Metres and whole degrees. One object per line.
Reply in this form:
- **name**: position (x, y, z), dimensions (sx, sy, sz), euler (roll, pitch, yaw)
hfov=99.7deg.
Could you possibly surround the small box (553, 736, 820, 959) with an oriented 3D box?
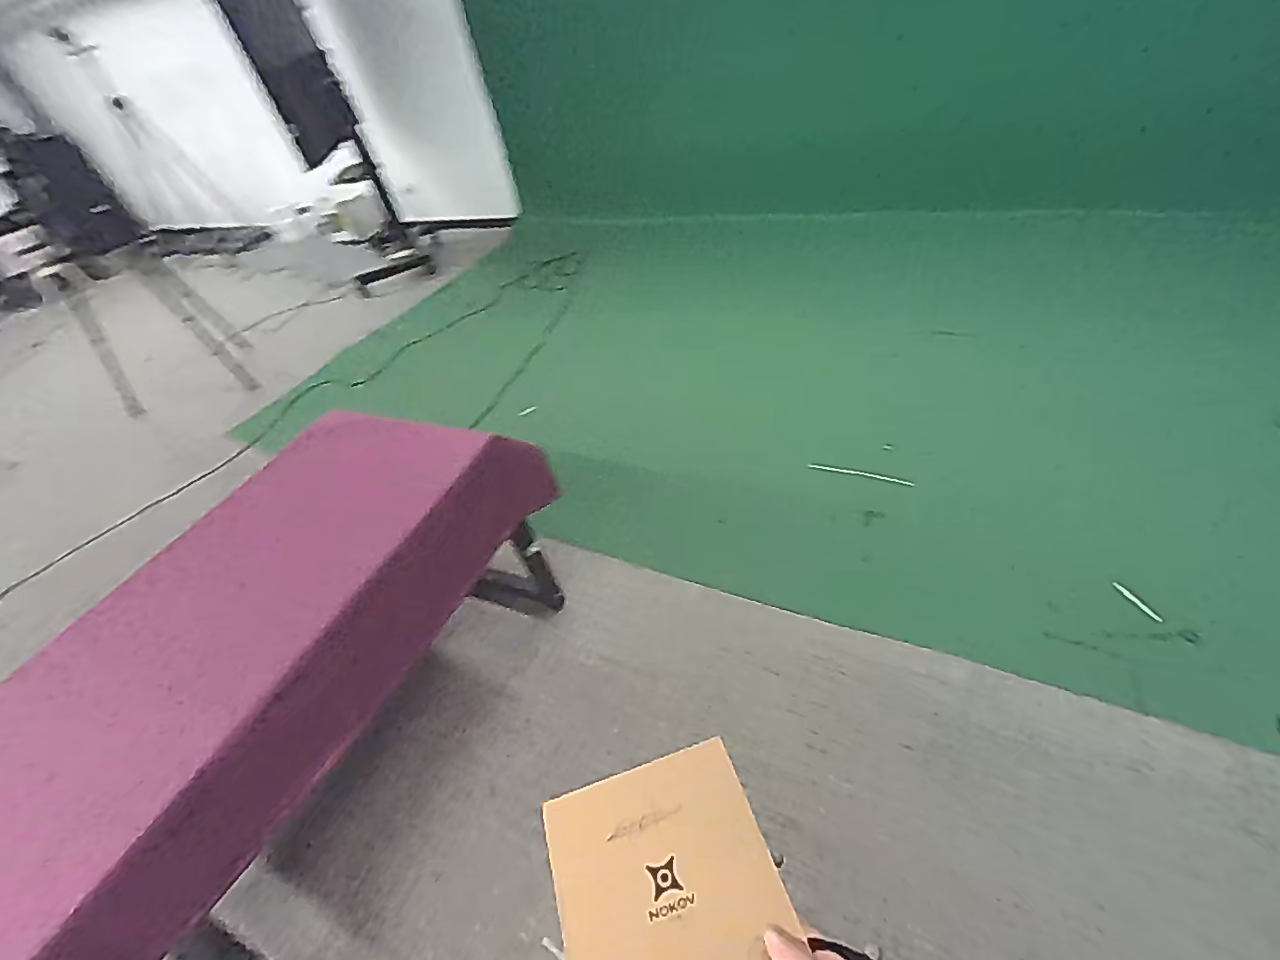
- **small box**: position (0.034, 0.360, 0.463), dimensions (0.168, 0.176, 0.179), euler (-15, 42, -9)
